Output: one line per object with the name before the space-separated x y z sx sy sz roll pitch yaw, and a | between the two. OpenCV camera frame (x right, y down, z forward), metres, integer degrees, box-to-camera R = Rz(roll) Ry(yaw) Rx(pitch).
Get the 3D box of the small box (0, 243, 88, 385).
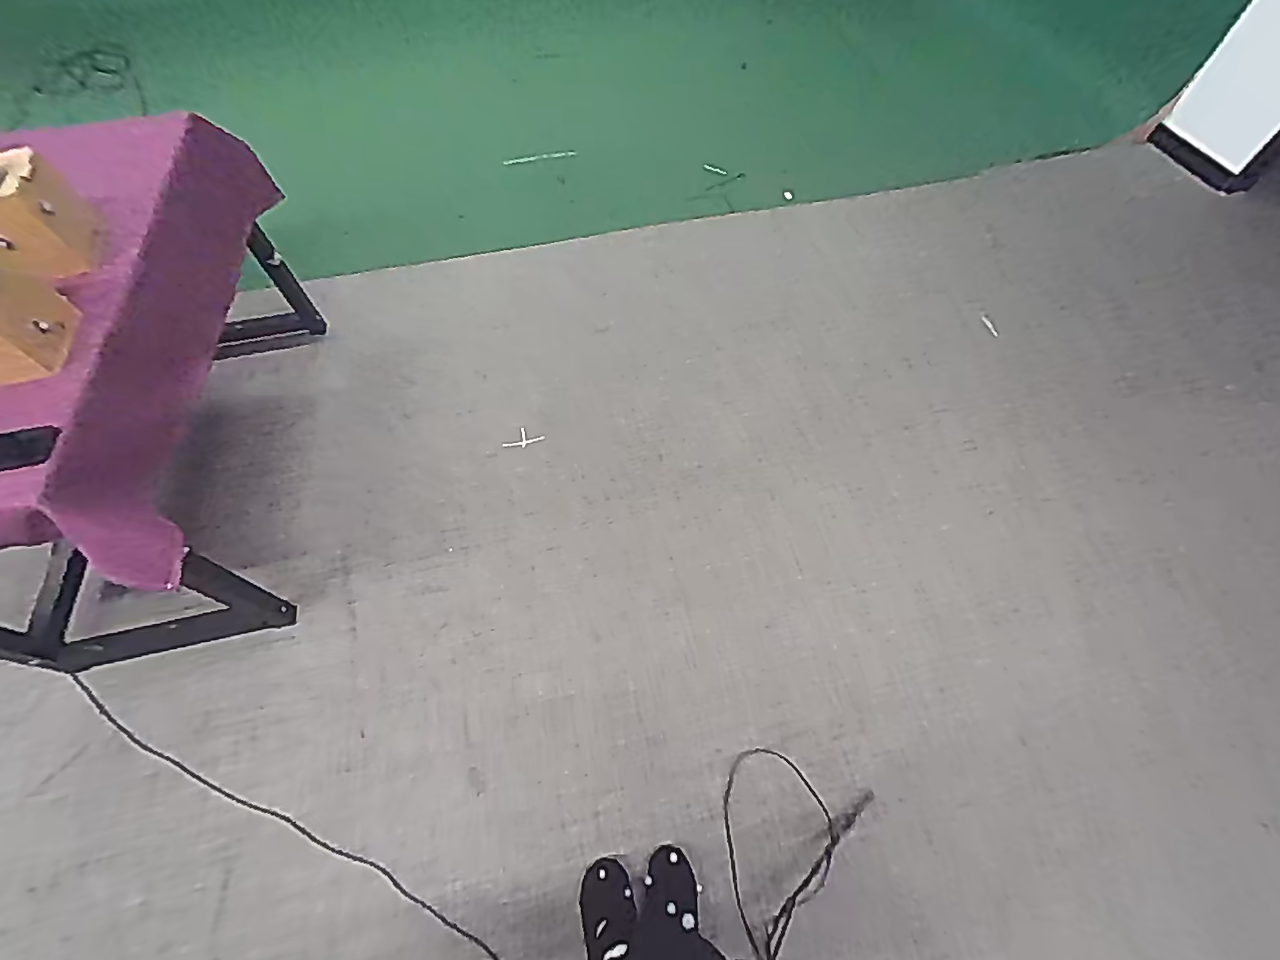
small box | -1.139 -0.274 0.935 0.179 0.176 0.168 -12 60 -7
